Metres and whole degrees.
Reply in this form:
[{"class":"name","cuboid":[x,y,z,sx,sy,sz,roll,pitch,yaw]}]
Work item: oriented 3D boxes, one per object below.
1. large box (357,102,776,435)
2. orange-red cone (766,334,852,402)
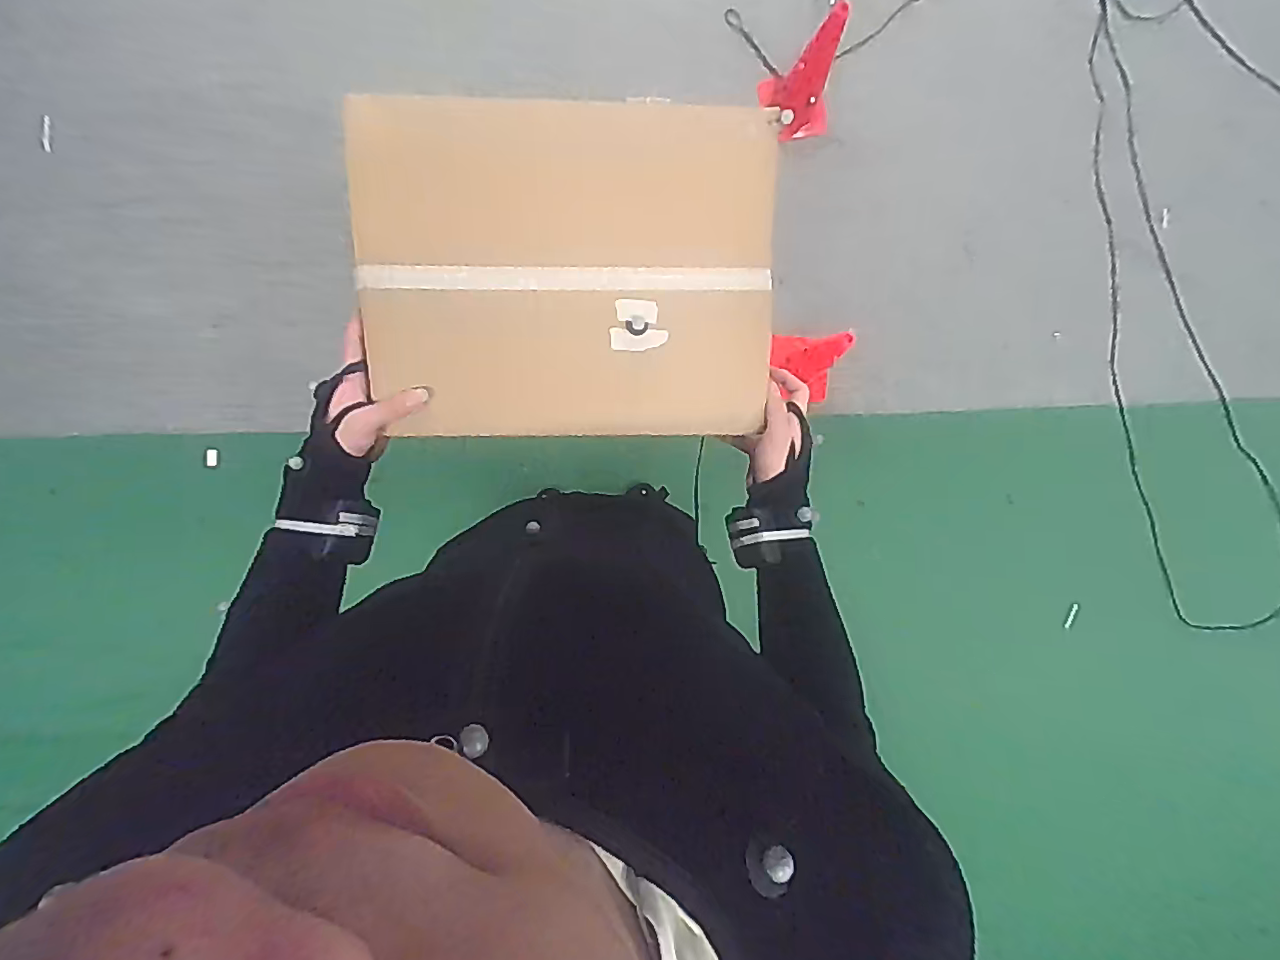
[{"class":"large box","cuboid":[-0.076,-0.233,0.687,0.408,0.320,0.320,-1,102,-4]},{"class":"orange-red cone","cuboid":[0.500,-0.350,1.523,0.199,0.360,0.198,5,90,-6]}]
